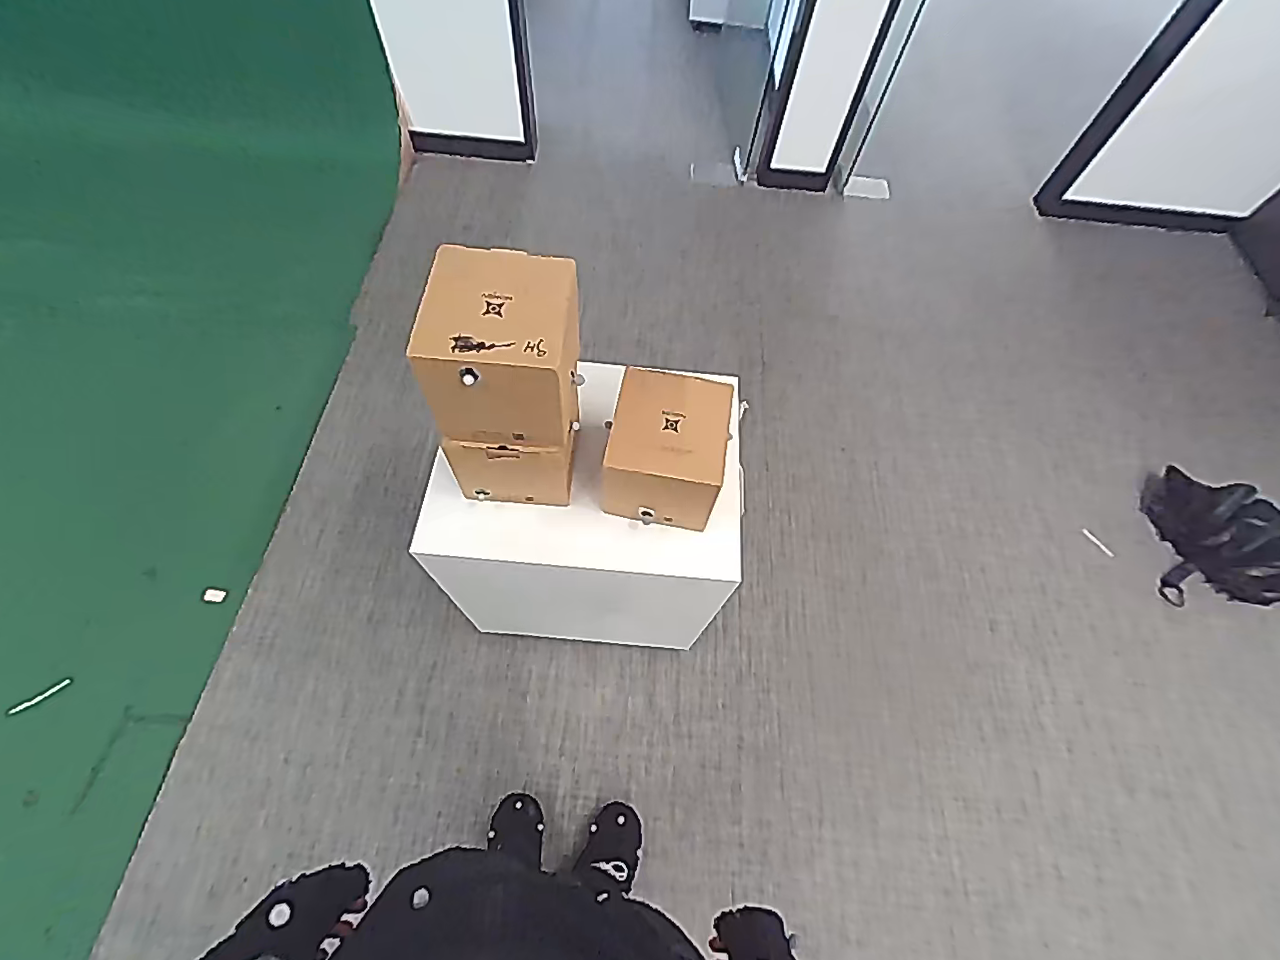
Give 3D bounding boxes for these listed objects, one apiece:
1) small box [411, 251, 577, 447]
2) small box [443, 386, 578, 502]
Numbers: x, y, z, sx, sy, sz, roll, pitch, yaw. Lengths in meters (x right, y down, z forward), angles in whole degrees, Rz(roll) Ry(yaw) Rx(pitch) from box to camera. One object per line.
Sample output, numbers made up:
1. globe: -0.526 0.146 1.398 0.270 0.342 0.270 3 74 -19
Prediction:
1. small box: -0.172 -0.165 0.703 0.168 0.176 0.179 4 61 -2
2. small box: -0.187 -0.079 0.842 0.168 0.176 0.179 5 61 -2
